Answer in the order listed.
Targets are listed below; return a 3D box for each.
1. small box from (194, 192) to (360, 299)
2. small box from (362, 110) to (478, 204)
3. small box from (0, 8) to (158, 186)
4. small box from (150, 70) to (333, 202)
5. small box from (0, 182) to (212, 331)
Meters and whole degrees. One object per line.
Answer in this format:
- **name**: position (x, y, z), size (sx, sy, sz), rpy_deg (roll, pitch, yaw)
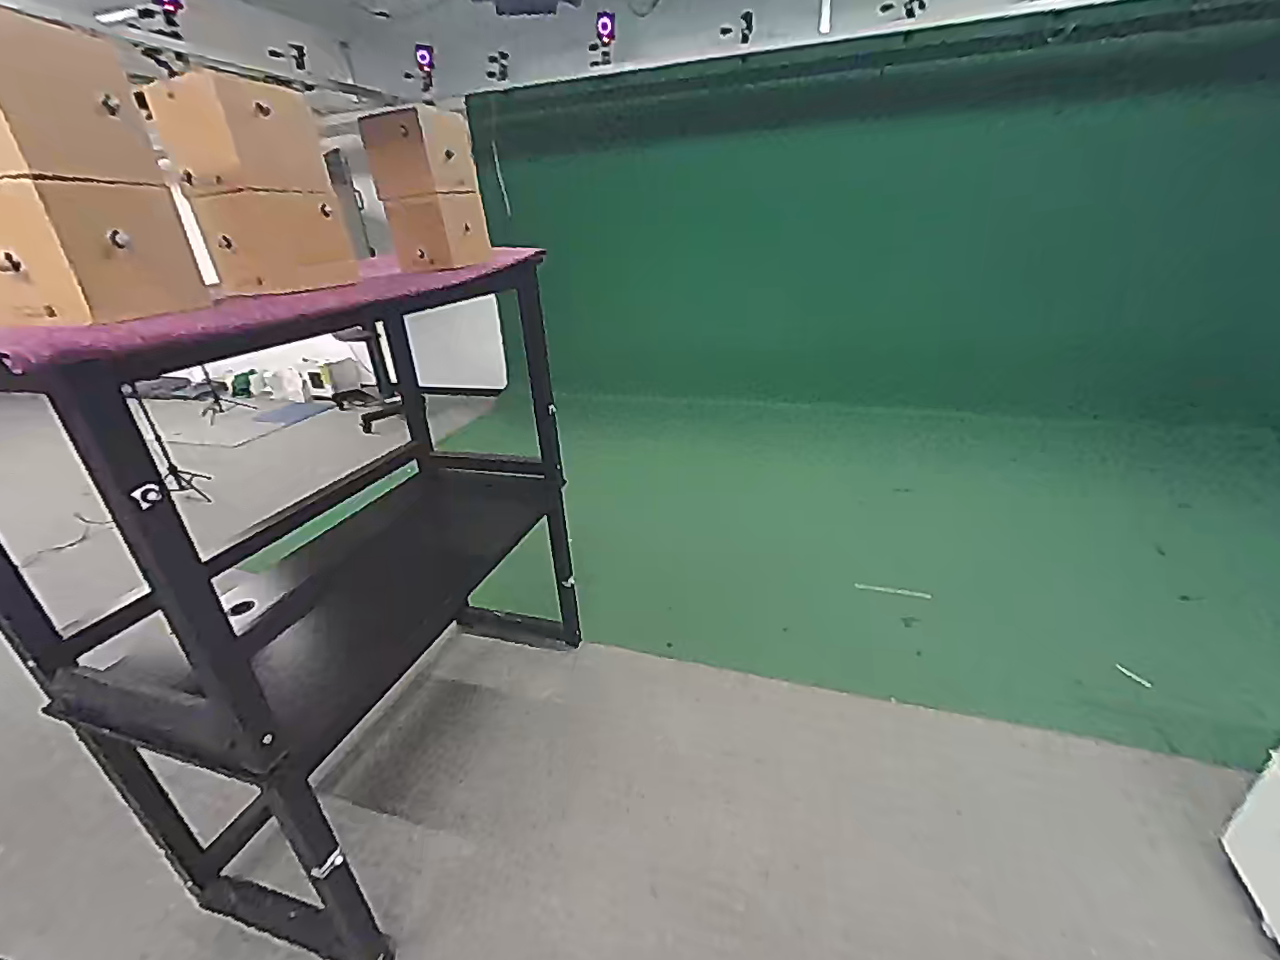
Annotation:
- **small box**: position (-0.669, -0.438, 1.021), size (0.168, 0.176, 0.179), rpy_deg (4, 26, 19)
- **small box**: position (-0.515, -0.765, 1.292), size (0.179, 0.176, 0.168), rpy_deg (4, 28, 20)
- **small box**: position (-0.752, -0.447, 0.664), size (0.168, 0.176, 0.179), rpy_deg (-1, 26, 7)
- **small box**: position (-0.687, -0.587, 0.954), size (0.168, 0.176, 0.179), rpy_deg (5, 25, 20)
- **small box**: position (-0.742, -0.300, 0.733), size (0.168, 0.176, 0.179), rpy_deg (2, 26, 9)
